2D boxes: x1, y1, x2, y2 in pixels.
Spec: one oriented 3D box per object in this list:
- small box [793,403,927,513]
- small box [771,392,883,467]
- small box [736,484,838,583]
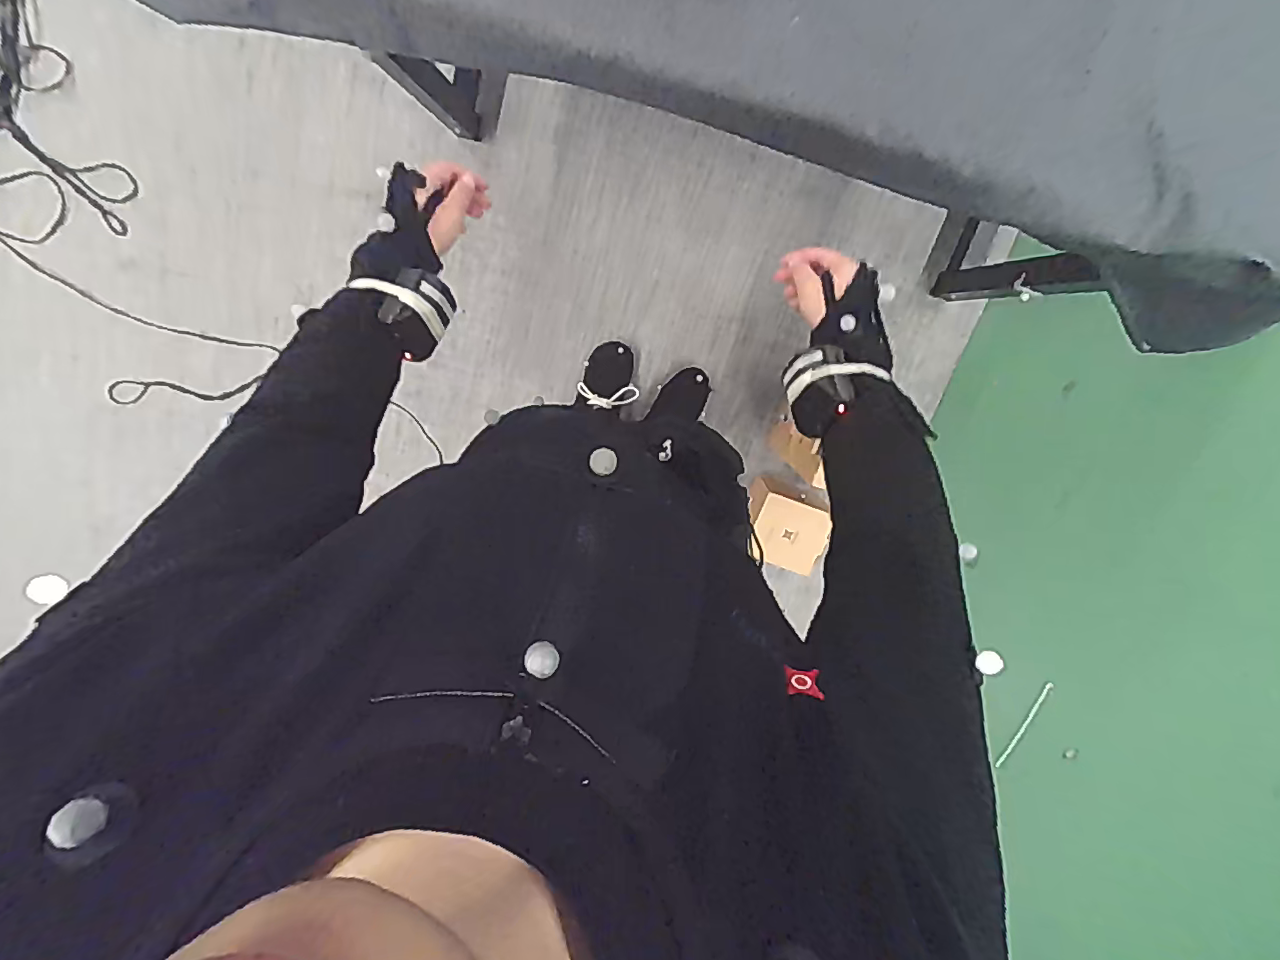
[{"bbox_3d":[0.438,-0.052,1.106,0.179,0.176,0.168,15,106,-3],"label":"small box"},{"bbox_3d":[0.424,-0.104,1.262,0.179,0.176,0.168,16,104,-3],"label":"small box"},{"bbox_3d":[0.352,0.123,1.330,0.179,0.176,0.168,19,104,-2],"label":"small box"}]
